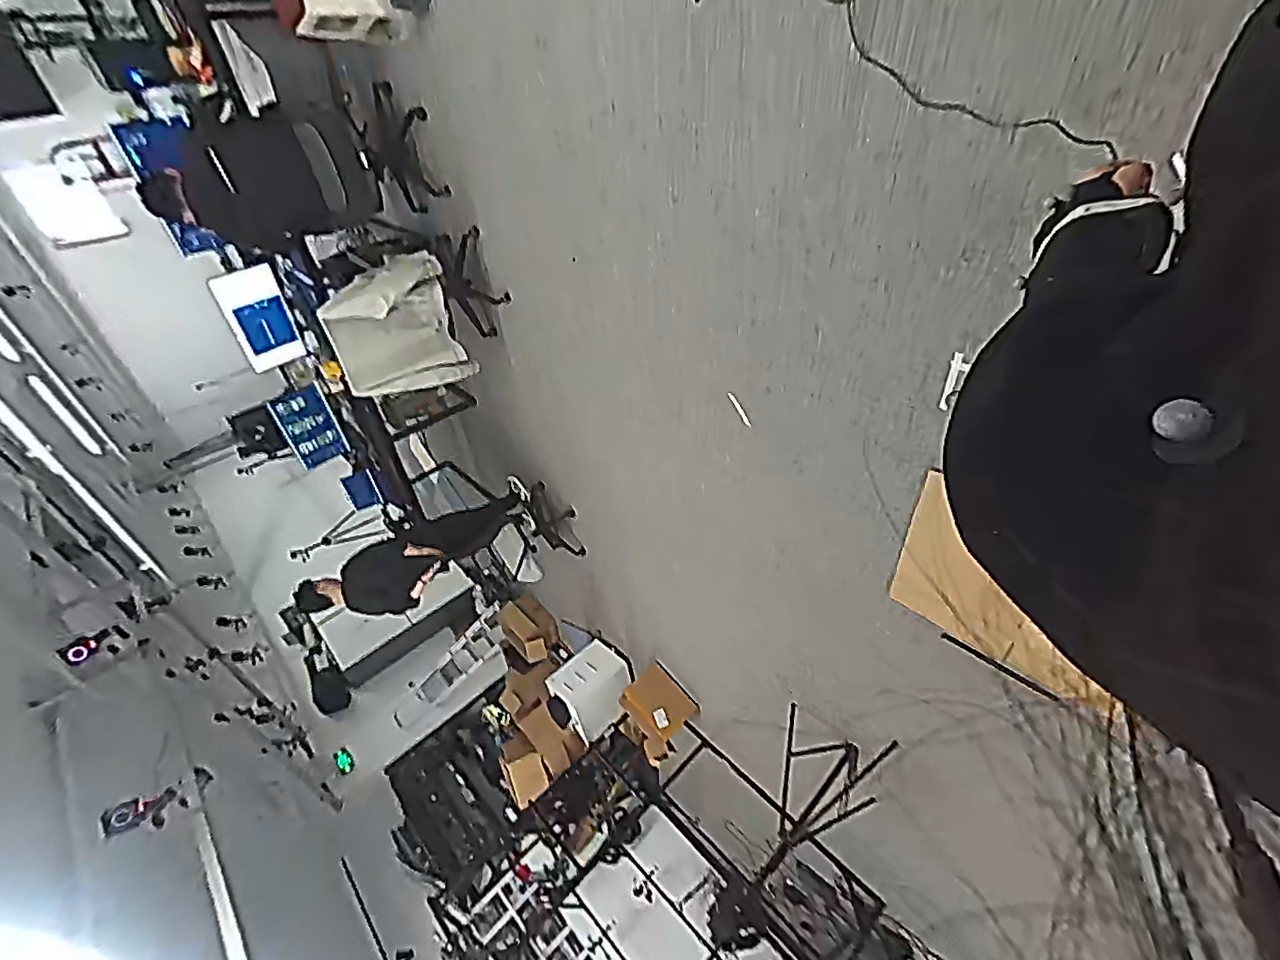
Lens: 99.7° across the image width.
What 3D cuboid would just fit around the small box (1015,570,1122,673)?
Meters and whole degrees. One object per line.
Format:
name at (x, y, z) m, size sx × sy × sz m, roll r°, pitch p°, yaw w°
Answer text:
small box at (1.170, 0.378, 1.473) m, size 0.168 × 0.176 × 0.179 m, roll 30°, pitch 141°, yaw 38°
